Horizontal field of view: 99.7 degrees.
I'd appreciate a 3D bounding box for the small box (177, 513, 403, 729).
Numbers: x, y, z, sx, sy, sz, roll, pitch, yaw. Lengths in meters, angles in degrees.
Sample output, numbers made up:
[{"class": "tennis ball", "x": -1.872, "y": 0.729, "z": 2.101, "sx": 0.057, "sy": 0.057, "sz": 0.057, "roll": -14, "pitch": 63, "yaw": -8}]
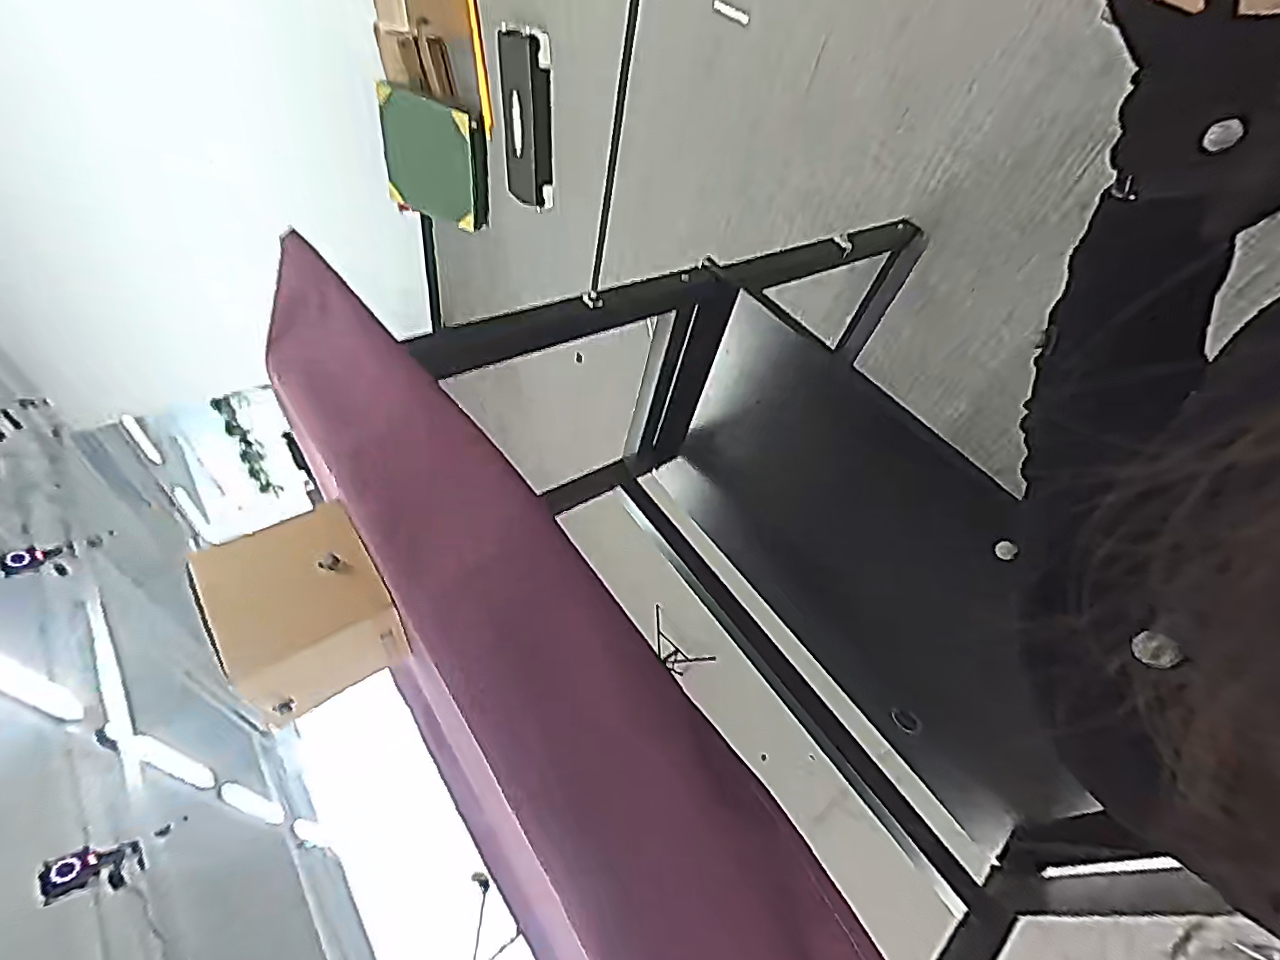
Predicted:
[{"class": "small box", "x": -0.413, "y": 0.161, "z": 0.662, "sx": 0.179, "sy": 0.176, "sz": 0.168, "roll": 50, "pitch": 147, "yaw": 24}]
